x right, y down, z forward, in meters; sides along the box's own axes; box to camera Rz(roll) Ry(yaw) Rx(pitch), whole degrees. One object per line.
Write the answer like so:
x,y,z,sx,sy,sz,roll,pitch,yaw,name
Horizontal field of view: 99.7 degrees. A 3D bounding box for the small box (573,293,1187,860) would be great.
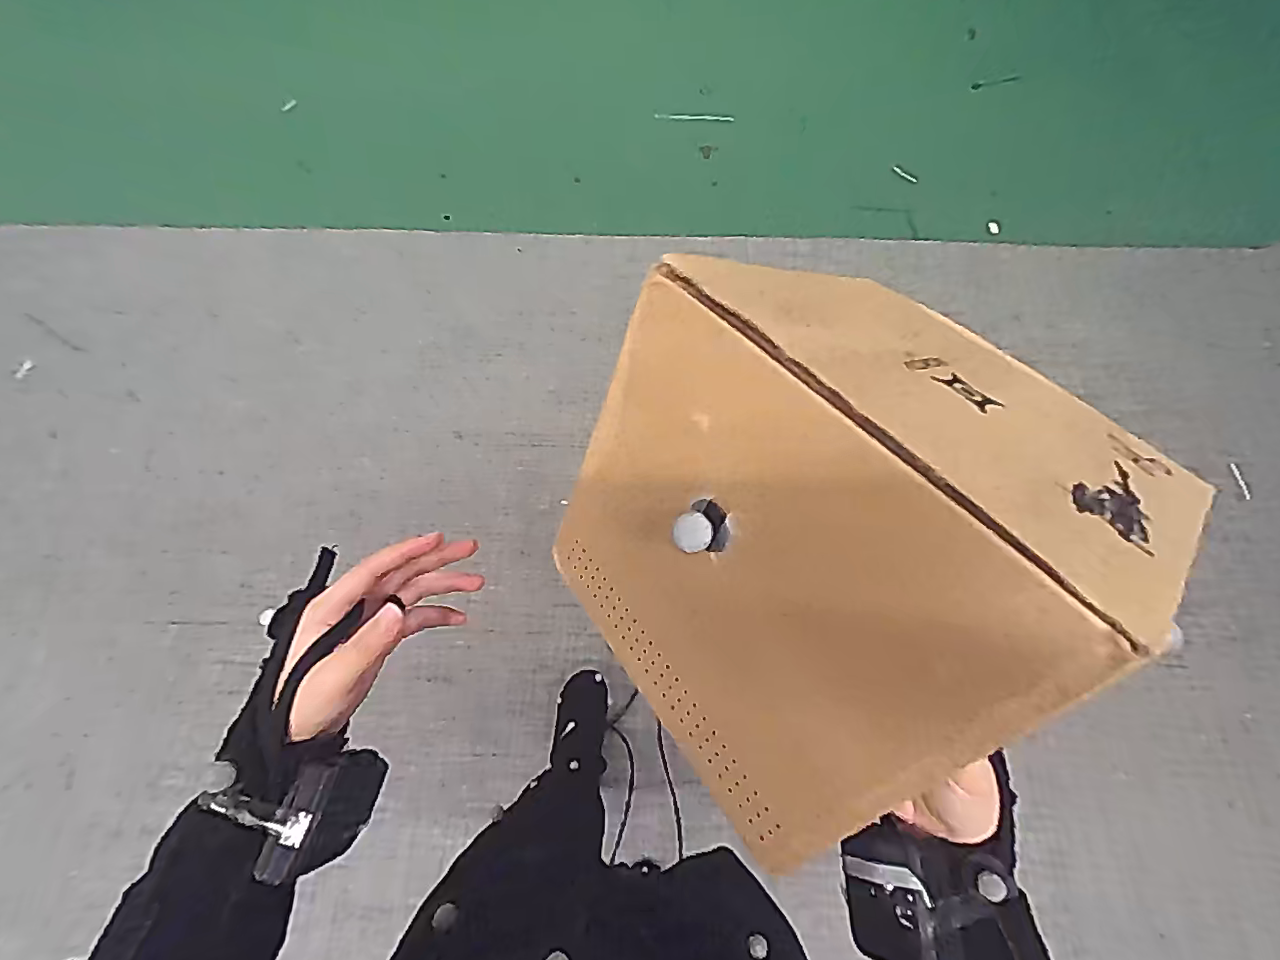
0.089,0.029,0.260,0.168,0.176,0.179,-16,51,-40,small box
